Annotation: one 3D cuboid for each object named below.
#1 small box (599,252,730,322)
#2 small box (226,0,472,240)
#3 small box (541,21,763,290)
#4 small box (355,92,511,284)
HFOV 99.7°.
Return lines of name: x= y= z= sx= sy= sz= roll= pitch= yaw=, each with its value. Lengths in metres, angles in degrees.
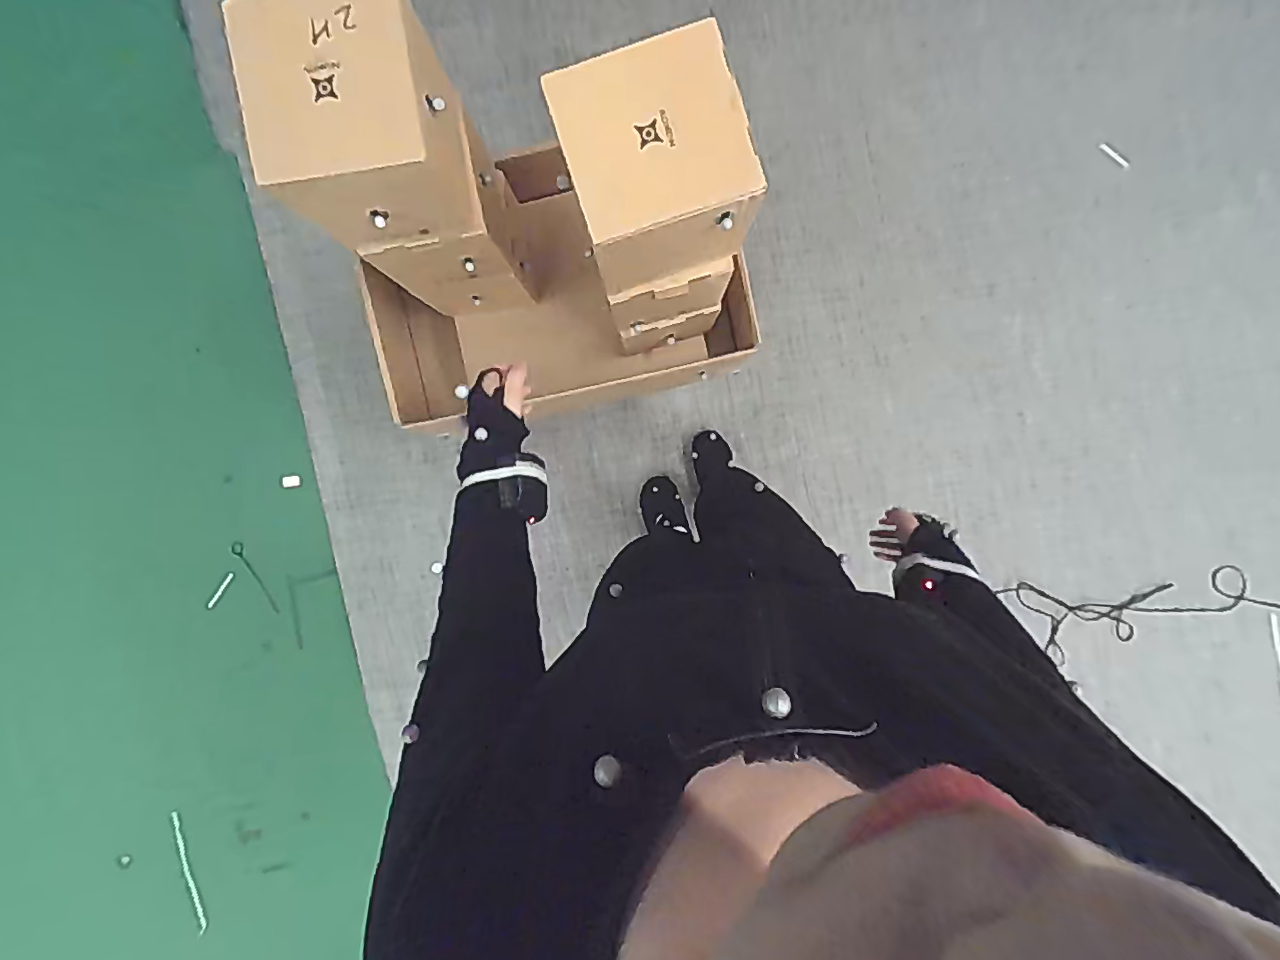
small box: x=0.018 y=-0.330 z=0.752 sx=0.168 sy=0.176 sz=0.179 roll=-15 pitch=93 yaw=2
small box: x=-0.296 y=-0.380 z=0.590 sx=0.168 sy=0.176 sz=0.179 roll=-8 pitch=93 yaw=-1
small box: x=0.013 y=-0.329 z=0.589 sx=0.179 sy=0.176 sz=0.168 roll=-18 pitch=93 yaw=1
small box: x=-0.289 y=-0.387 z=0.754 sx=0.168 sy=0.176 sz=0.179 roll=-10 pitch=93 yaw=0
